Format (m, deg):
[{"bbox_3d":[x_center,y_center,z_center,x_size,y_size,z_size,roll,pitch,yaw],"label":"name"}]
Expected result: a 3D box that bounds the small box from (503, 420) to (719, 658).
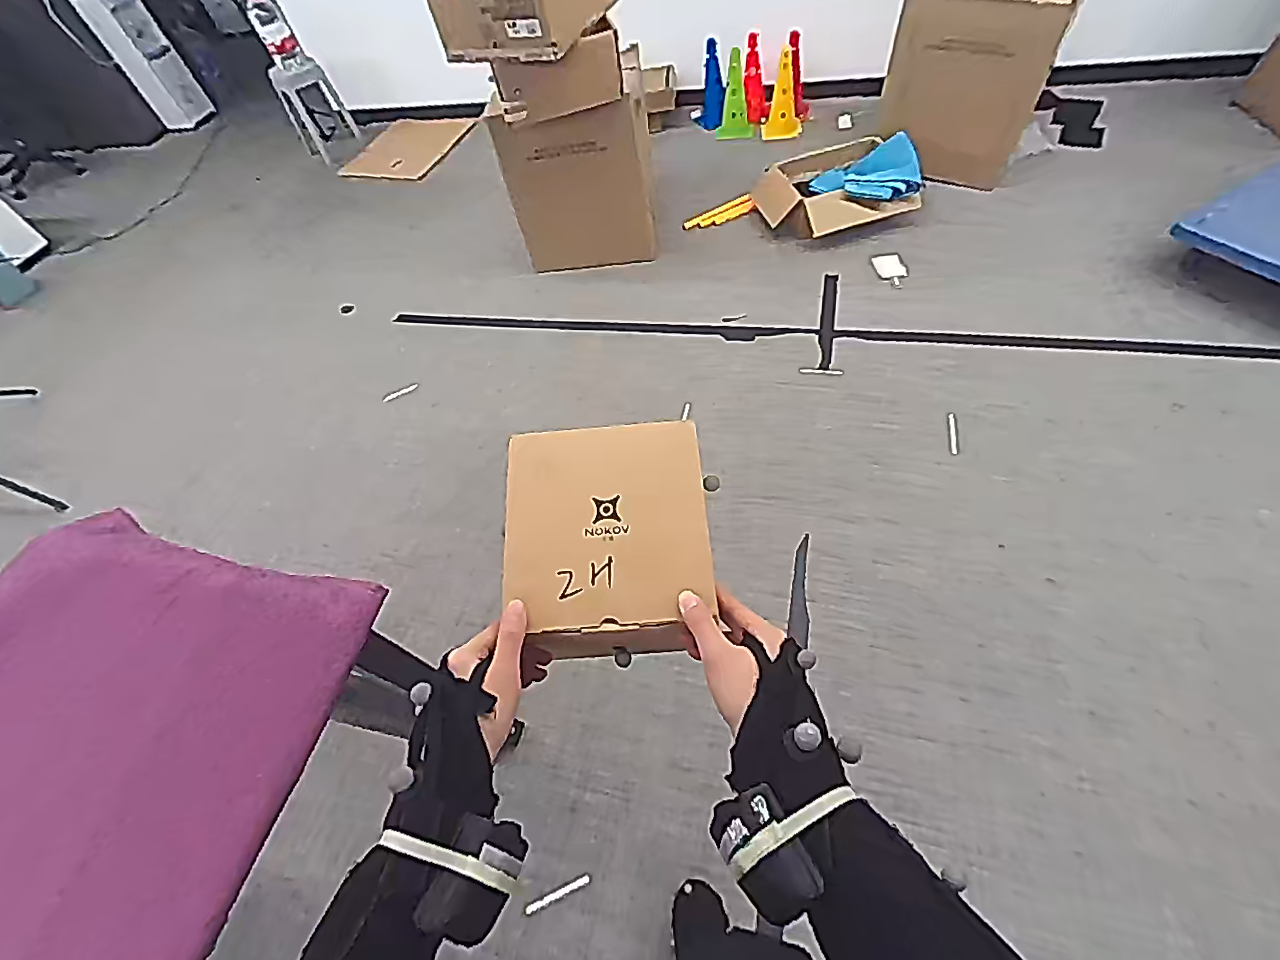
[{"bbox_3d":[-0.021,0.064,0.512,0.168,0.176,0.179,-5,65,3],"label":"small box"}]
